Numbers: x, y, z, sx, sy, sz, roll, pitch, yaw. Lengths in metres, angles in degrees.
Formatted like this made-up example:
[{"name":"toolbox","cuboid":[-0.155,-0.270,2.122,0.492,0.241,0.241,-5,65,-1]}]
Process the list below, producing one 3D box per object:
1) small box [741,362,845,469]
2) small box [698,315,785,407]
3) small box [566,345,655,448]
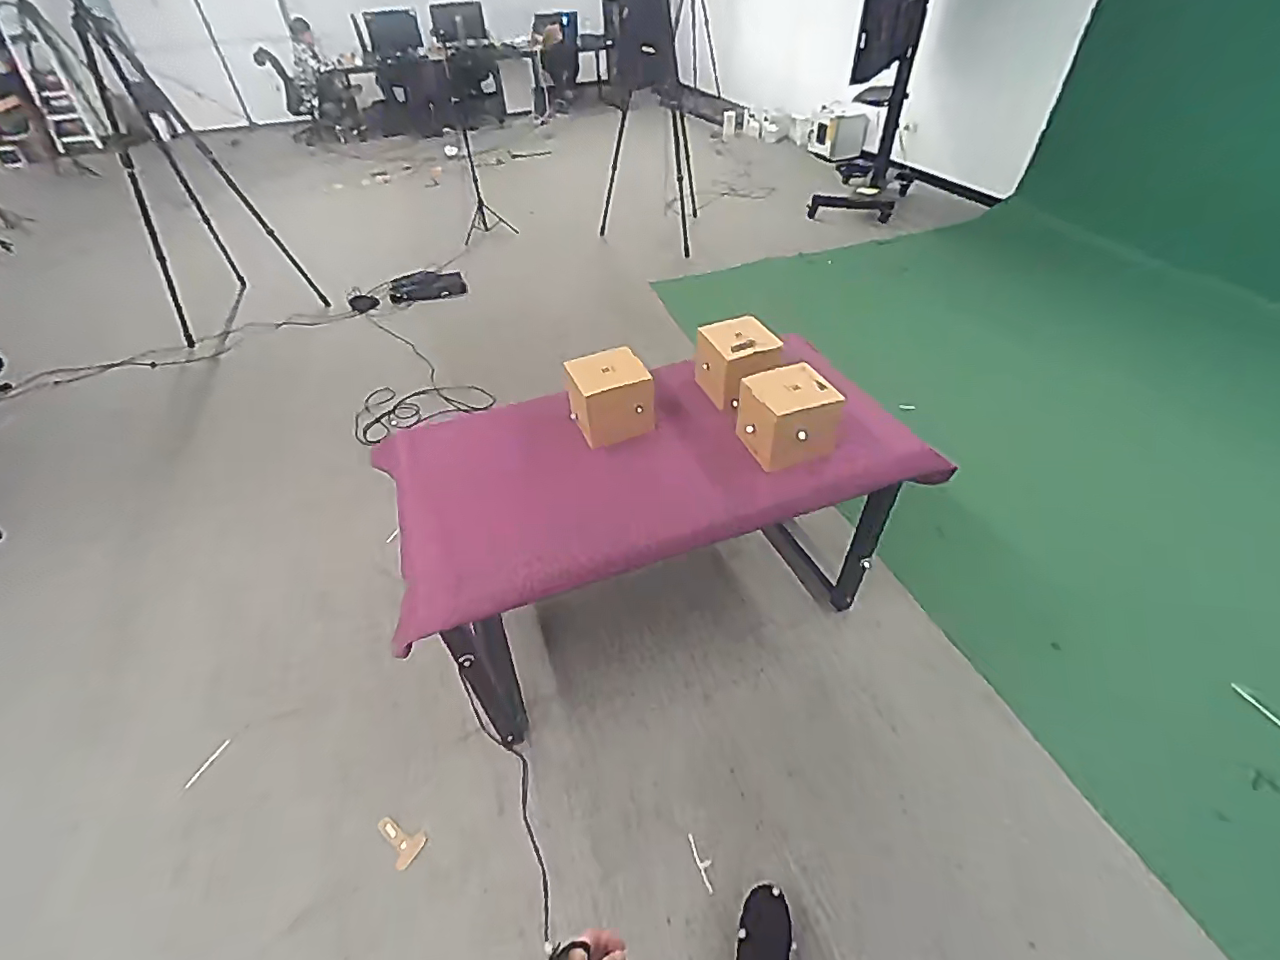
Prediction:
[{"name":"small box","cuboid":[0.348,-0.148,1.265,0.179,0.176,0.168,-16,45,-11]},{"name":"small box","cuboid":[0.263,-0.310,1.437,0.168,0.176,0.179,-16,45,-12]},{"name":"small box","cuboid":[-0.073,-0.209,1.357,0.179,0.176,0.168,-18,46,-14]}]
